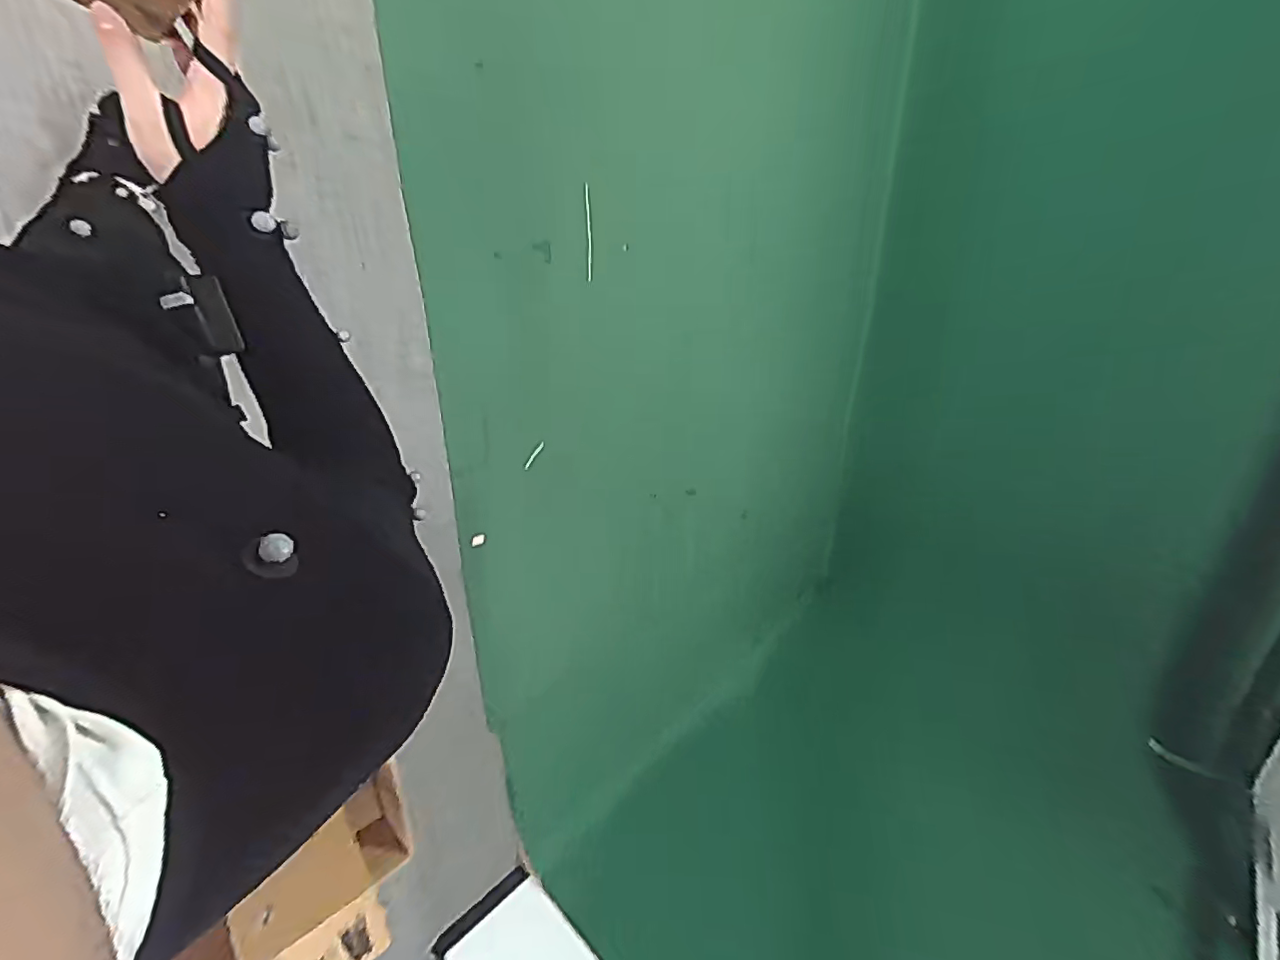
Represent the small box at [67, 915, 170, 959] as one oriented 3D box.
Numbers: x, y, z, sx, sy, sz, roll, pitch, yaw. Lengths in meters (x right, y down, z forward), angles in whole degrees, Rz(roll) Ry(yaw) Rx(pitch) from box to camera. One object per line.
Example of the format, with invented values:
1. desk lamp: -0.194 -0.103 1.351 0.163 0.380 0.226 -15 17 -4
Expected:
1. small box: -0.717 0.735 0.703 0.179 0.176 0.168 -22 122 -41
